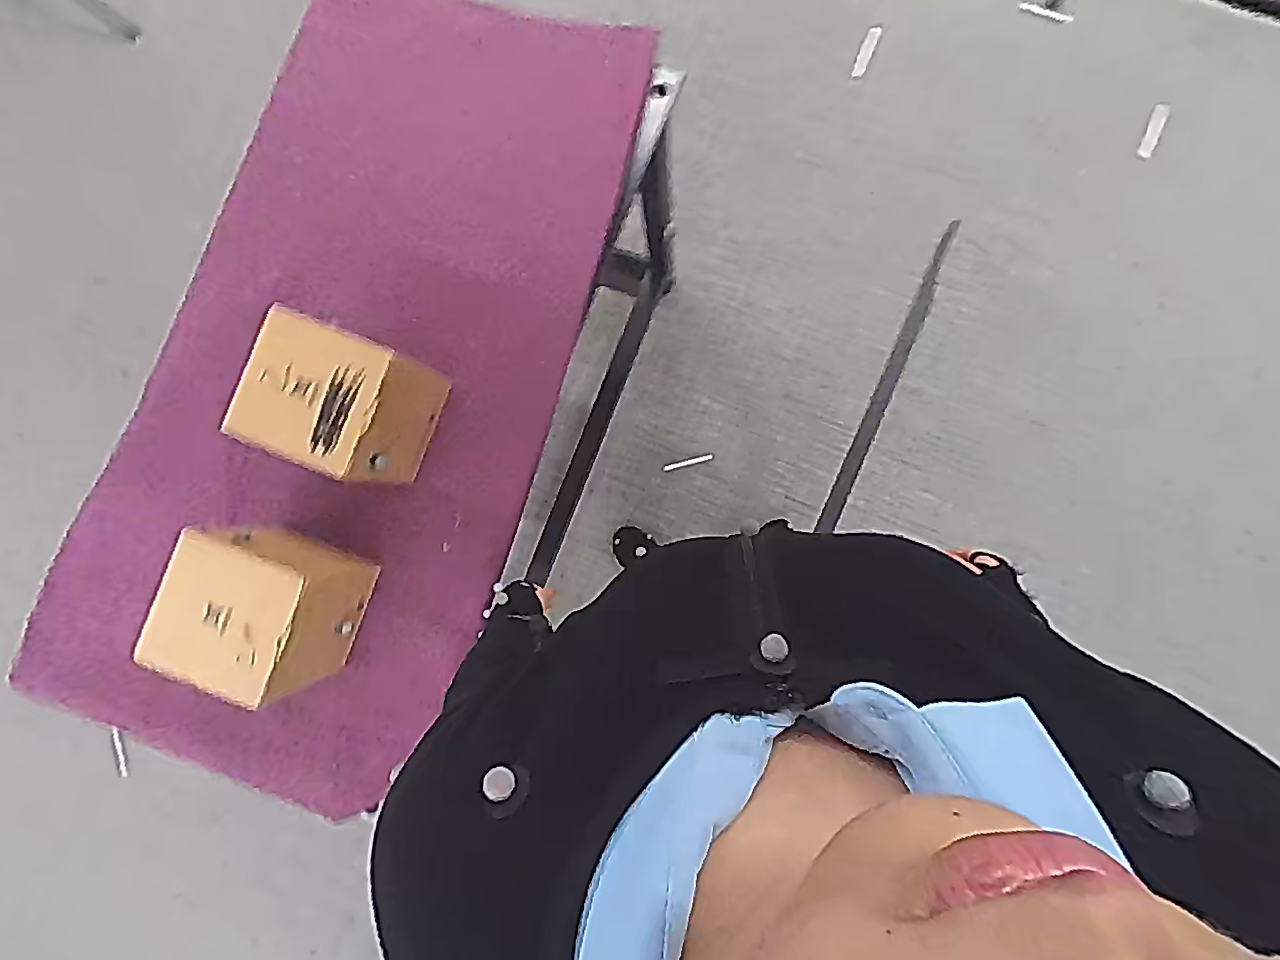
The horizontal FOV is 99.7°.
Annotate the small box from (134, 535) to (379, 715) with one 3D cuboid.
[{"bbox_3d":[-0.493,0.178,0.722,0.179,0.176,0.168,19,88,4],"label":"small box"}]
